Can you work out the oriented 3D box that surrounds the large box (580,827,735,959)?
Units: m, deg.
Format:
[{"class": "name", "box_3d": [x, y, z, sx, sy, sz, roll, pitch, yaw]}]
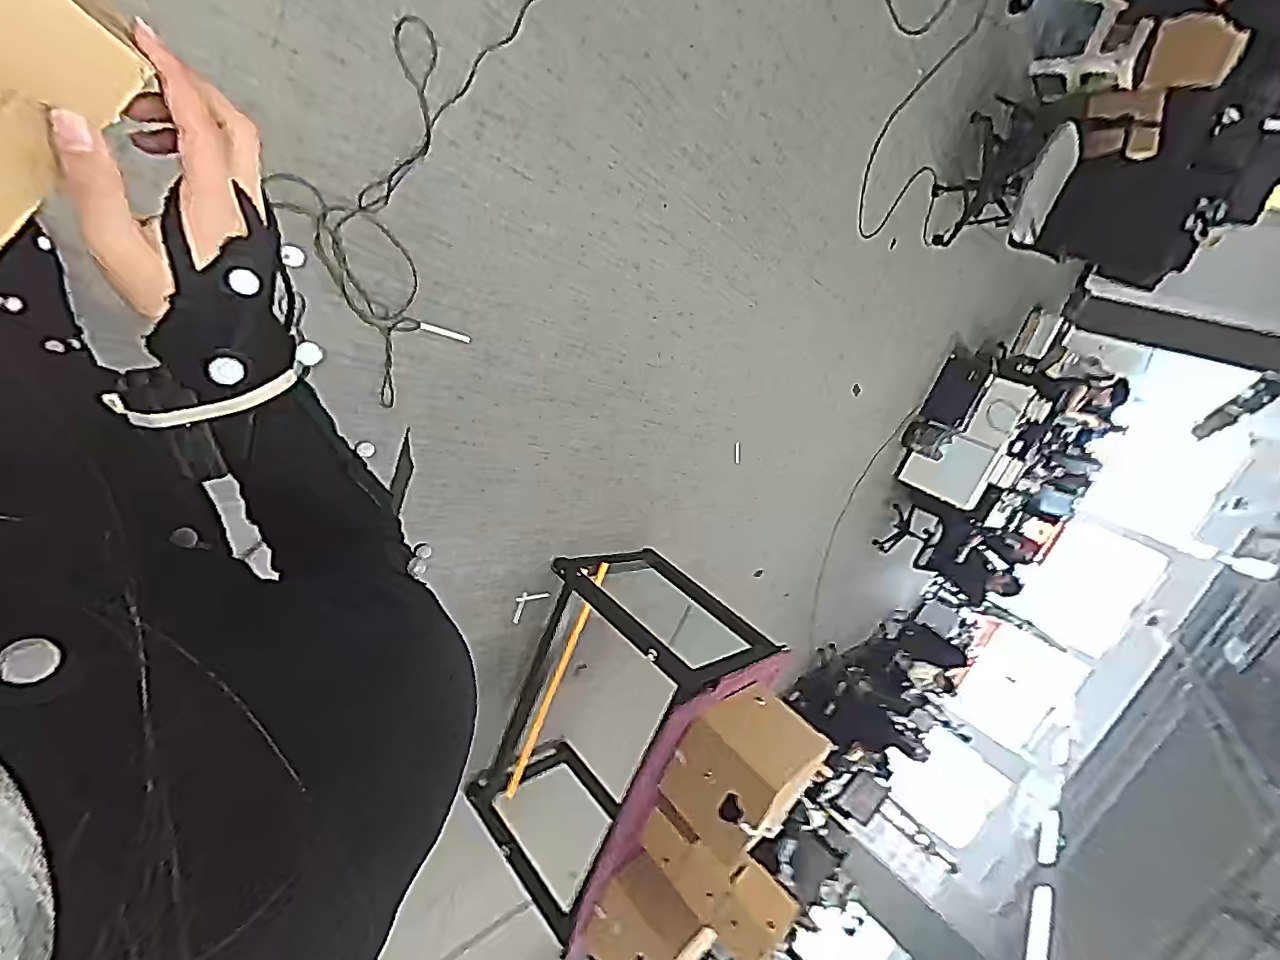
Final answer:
[{"class": "large box", "box_3d": [0.063, 1.546, 1.915, 0.408, 0.320, 0.320, 3, 114, -52]}]

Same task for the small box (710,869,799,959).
[{"class": "small box", "box_3d": [0.349, 1.354, 1.658, 0.179, 0.176, 0.168, -2, 118, -48]}]
